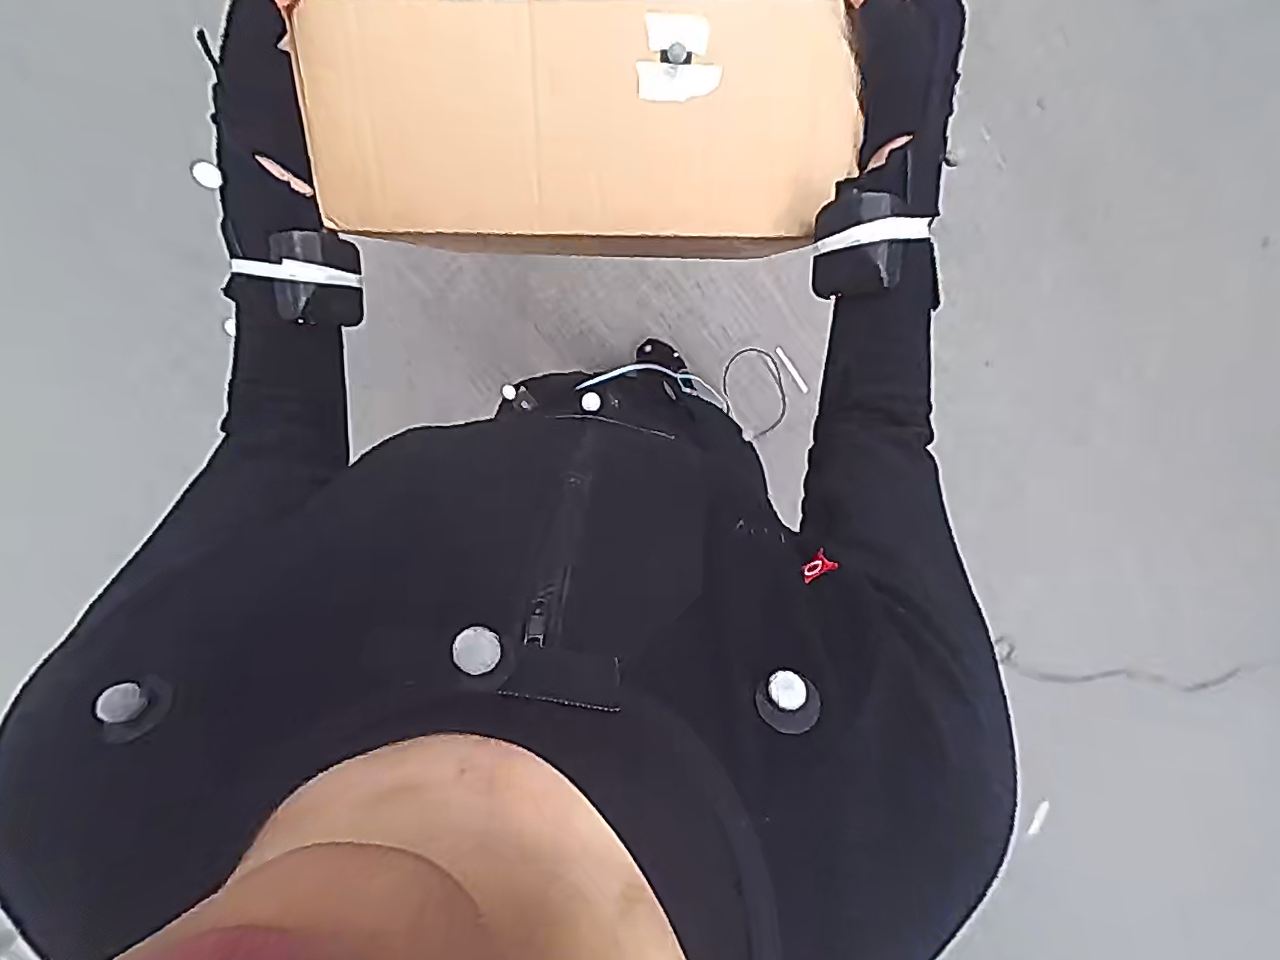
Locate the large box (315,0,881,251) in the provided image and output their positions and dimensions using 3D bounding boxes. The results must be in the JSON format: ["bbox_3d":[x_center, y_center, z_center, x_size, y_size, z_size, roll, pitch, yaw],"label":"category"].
[{"bbox_3d":[-0.031,-0.396,0.514,0.408,0.320,0.320,1,111,-1],"label":"large box"}]
